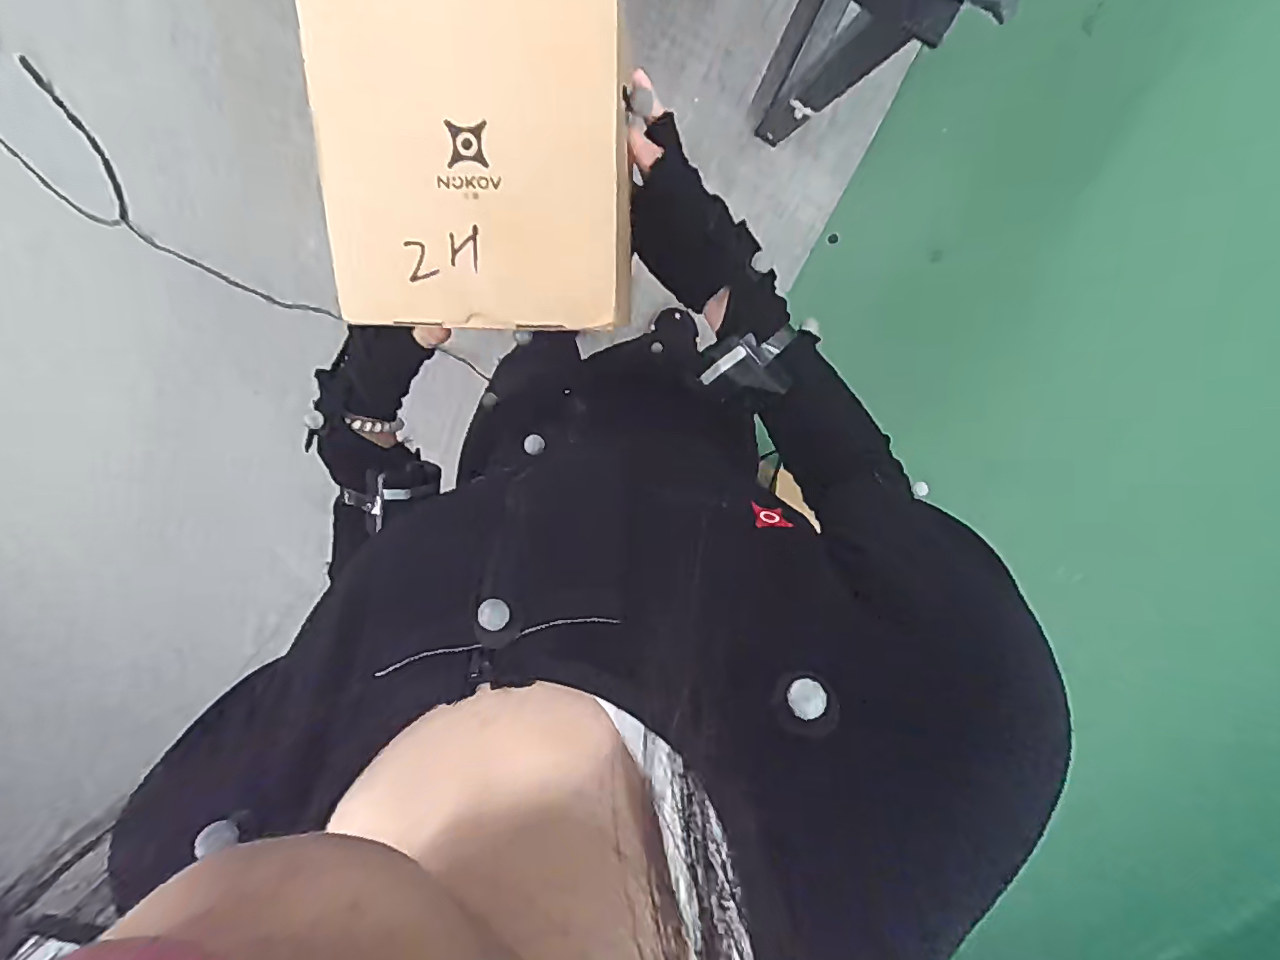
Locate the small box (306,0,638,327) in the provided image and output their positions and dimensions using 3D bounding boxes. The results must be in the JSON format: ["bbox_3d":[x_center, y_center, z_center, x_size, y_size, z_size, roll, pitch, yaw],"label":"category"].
[{"bbox_3d":[-0.088,-0.199,0.368,0.168,0.176,0.179,2,107,1],"label":"small box"}]
